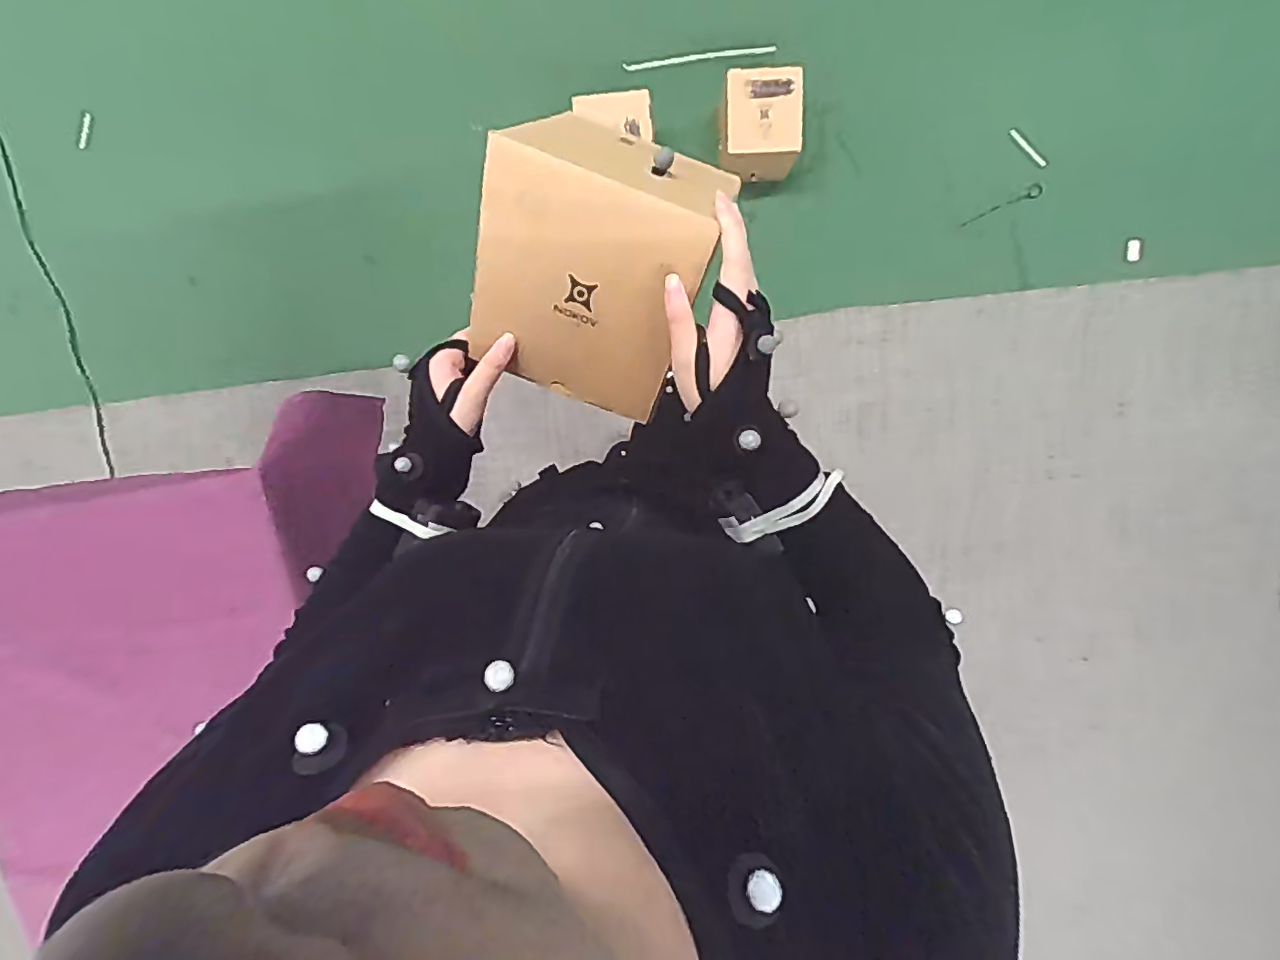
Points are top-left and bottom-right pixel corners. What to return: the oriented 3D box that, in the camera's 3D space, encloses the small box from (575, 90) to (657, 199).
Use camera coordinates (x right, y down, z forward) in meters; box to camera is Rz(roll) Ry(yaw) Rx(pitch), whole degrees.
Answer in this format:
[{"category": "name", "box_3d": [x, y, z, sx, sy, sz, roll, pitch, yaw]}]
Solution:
[{"category": "small box", "box_3d": [-0.050, -0.790, 1.289, 0.179, 0.176, 0.168, -4, 98, 4]}]
